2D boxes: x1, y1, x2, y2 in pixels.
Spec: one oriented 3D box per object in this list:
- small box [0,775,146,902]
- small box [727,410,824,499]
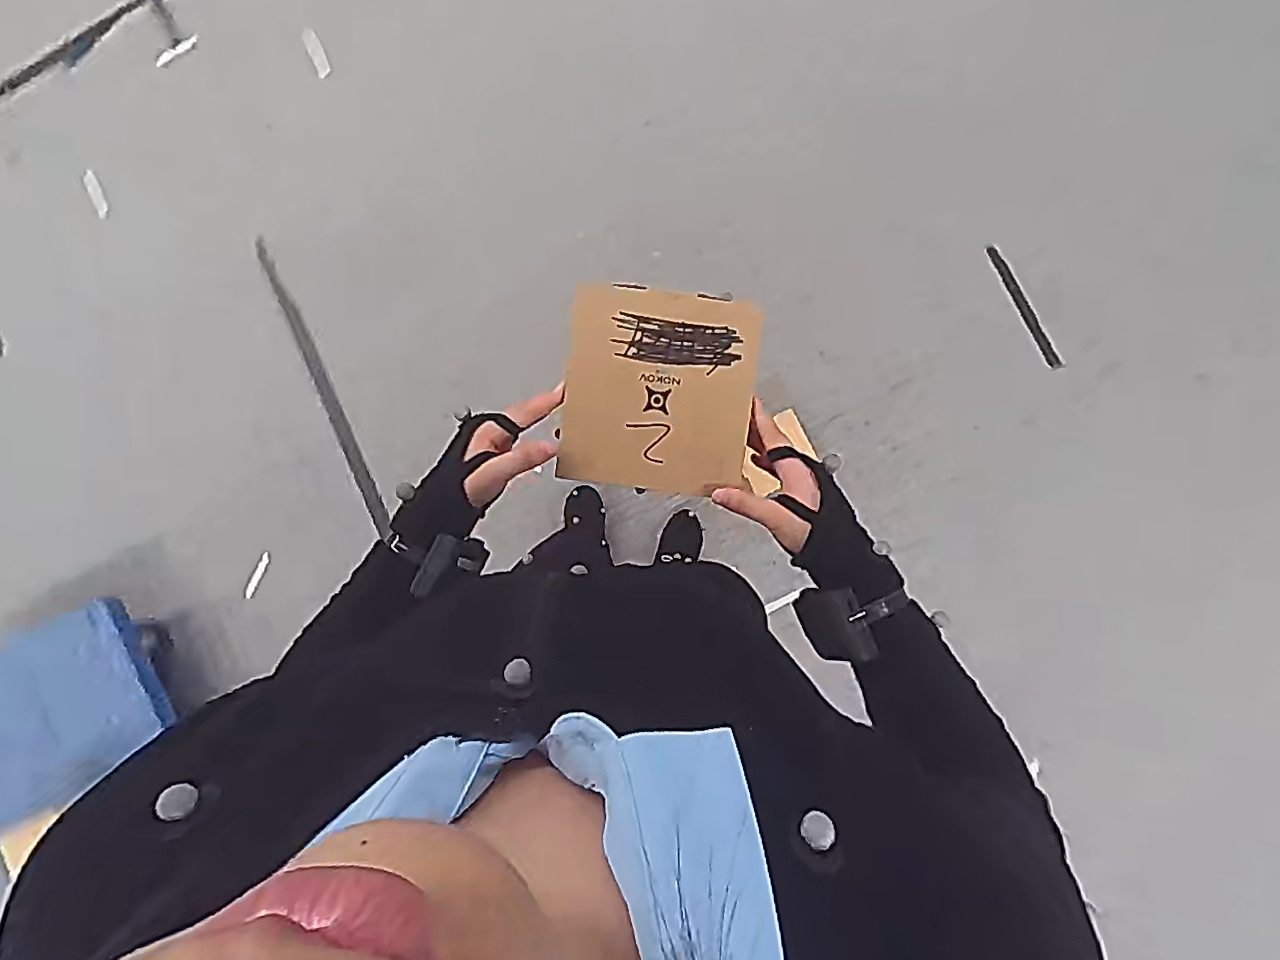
[{"bbox_3d":[-1.378,0.863,1.318,0.179,0.176,0.168,-23,88,3],"label":"small box"},{"bbox_3d":[0.339,-0.063,1.390,0.179,0.176,0.168,-27,87,4],"label":"small box"}]
